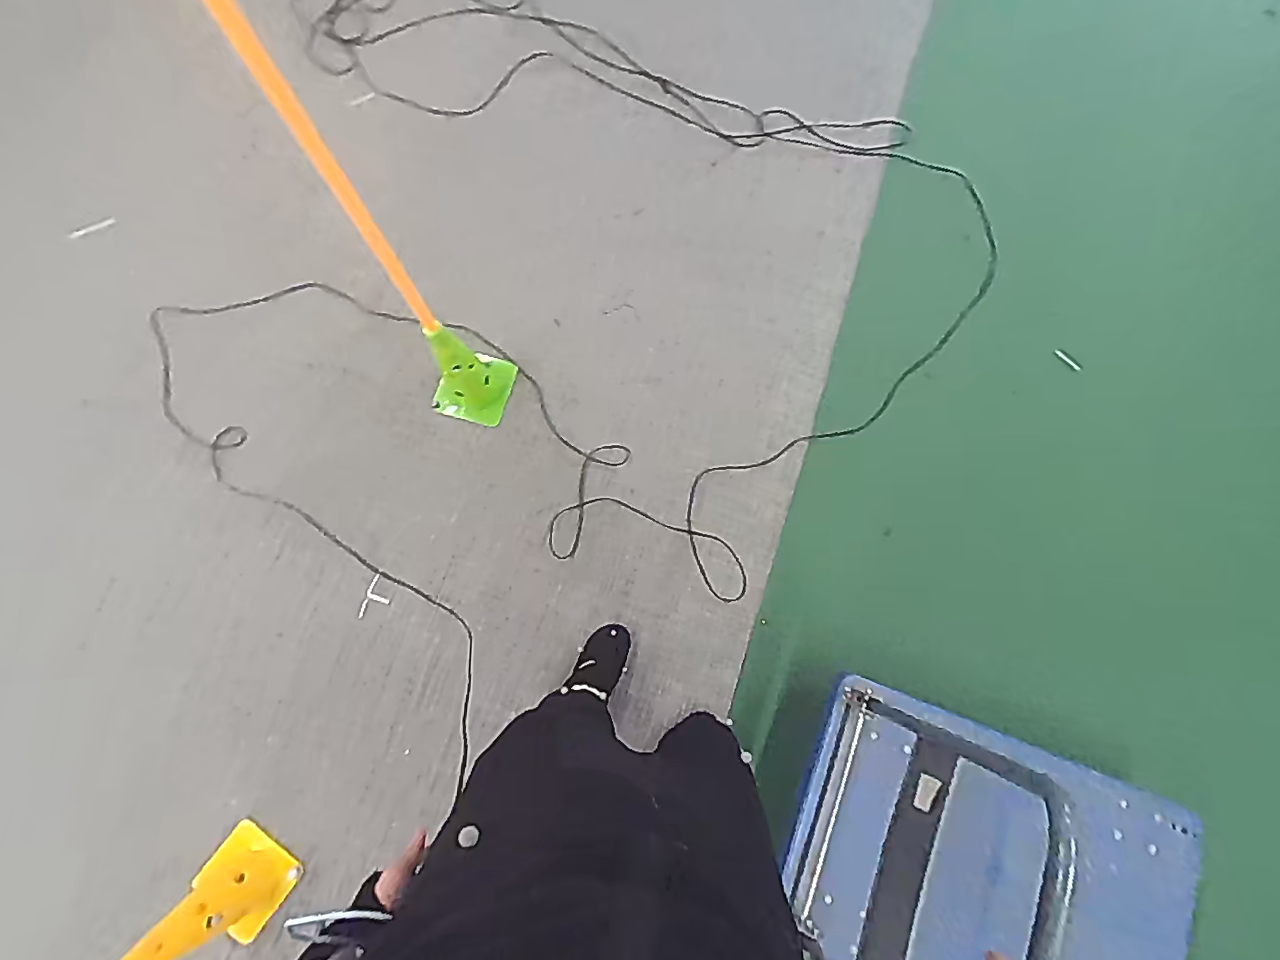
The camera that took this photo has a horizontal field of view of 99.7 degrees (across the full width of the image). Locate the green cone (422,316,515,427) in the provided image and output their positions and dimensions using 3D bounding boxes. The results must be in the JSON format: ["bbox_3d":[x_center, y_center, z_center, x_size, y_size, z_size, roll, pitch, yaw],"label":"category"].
[{"bbox_3d":[-0.466,-0.300,1.366,0.200,0.368,0.202,15,76,1],"label":"green cone"}]
